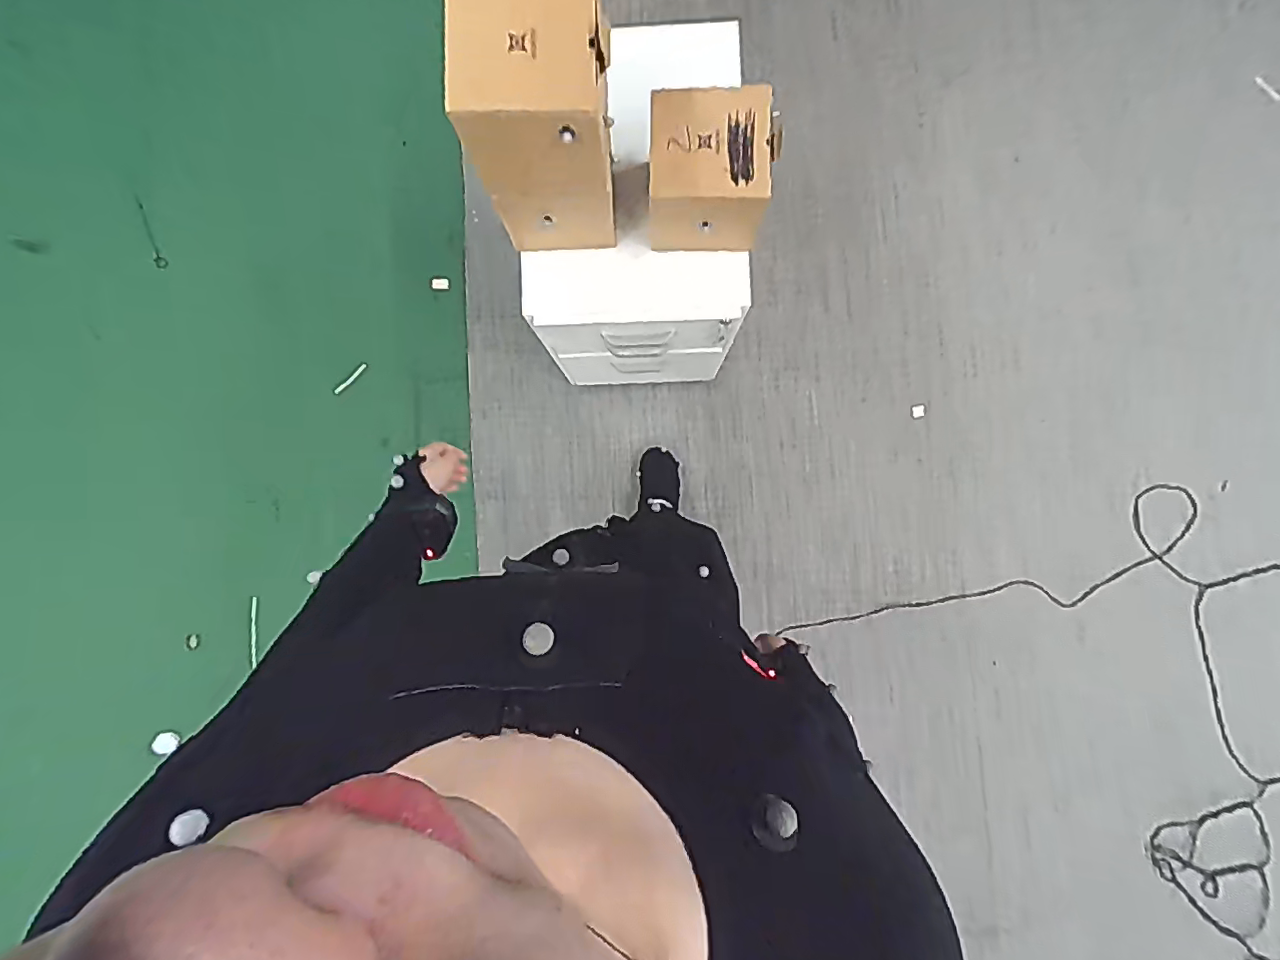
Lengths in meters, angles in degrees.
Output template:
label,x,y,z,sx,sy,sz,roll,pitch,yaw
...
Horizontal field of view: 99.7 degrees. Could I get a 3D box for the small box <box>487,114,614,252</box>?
label,x,y,z,sx,sy,sz,roll,pitch,yaw
small box,-0.135,-0.481,0.862,0.179,0.176,0.168,-2,87,0

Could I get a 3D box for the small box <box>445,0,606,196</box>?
label,x,y,z,sx,sy,sz,roll,pitch,yaw
small box,-0.136,-0.491,0.699,0.179,0.176,0.168,-1,87,-2
